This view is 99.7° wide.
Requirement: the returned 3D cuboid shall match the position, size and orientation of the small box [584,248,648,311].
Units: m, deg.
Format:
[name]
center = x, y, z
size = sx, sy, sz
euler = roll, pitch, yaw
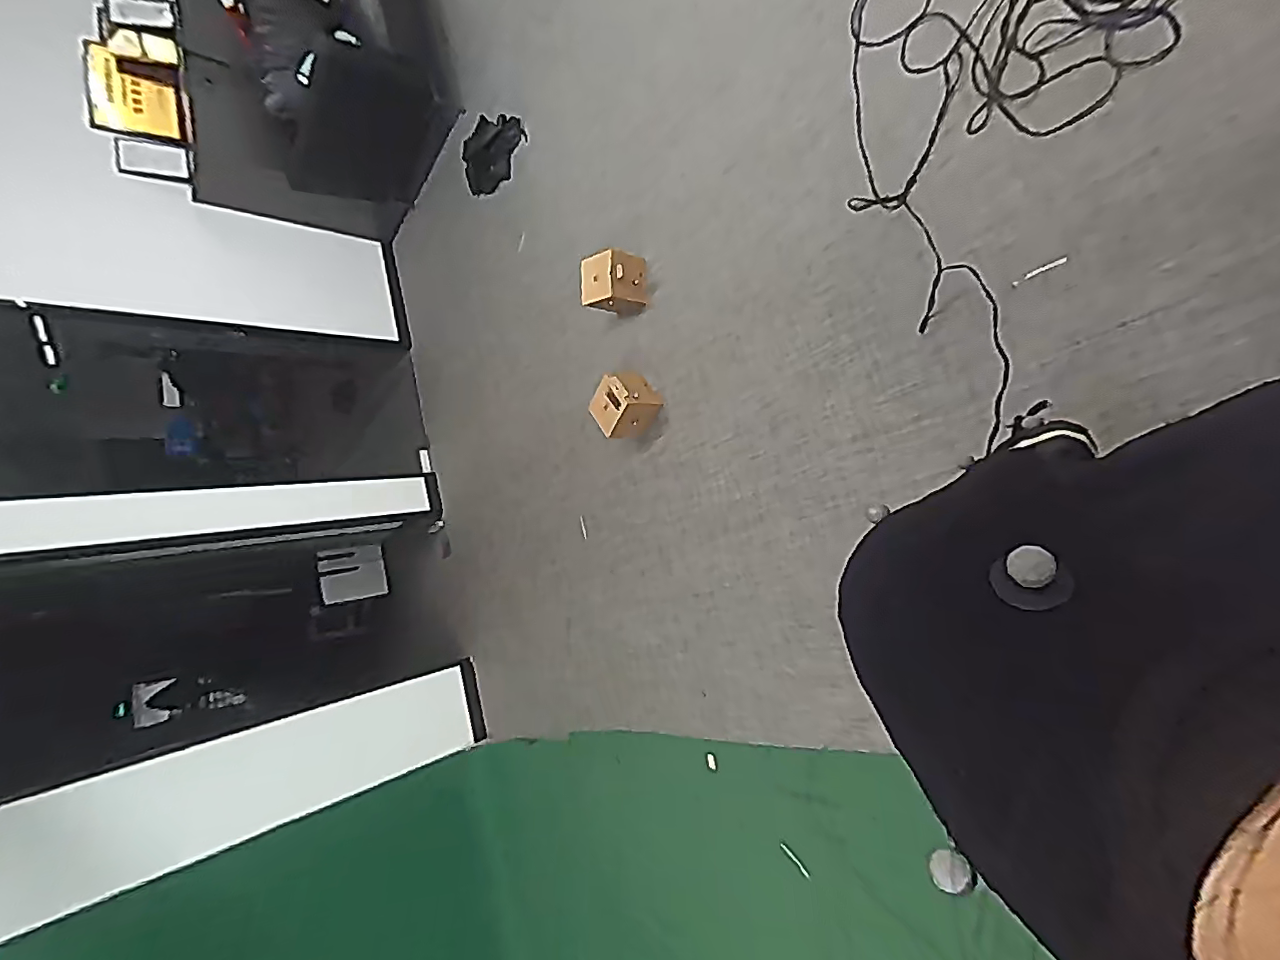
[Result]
[small box]
center = -0.091, -0.734, 1.999
size = 0.179, 0.176, 0.168
euler = 3, 95, 47
